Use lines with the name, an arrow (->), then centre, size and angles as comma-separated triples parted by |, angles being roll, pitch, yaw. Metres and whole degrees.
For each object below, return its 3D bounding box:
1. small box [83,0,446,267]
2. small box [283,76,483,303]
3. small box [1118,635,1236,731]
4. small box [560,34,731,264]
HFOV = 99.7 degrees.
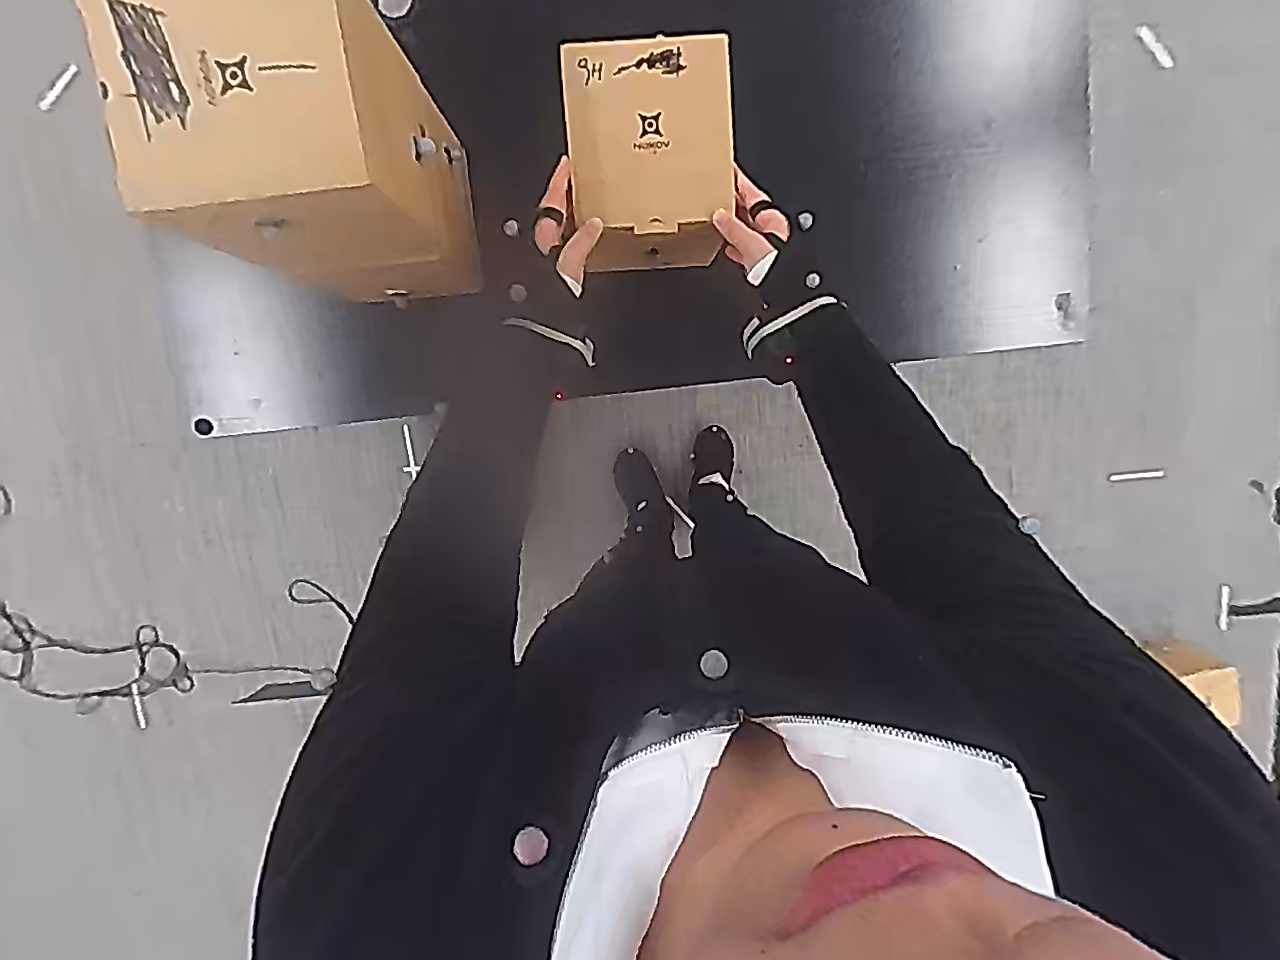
small box -> -0.286, -0.289, 0.451 | 0.179, 0.176, 0.168 | -7, 98, 0
small box -> -0.290, -0.312, 0.614 | 0.168, 0.176, 0.179 | -6, 98, 0
small box -> 1.487, 0.560, 1.507 | 0.168, 0.176, 0.179 | -12, 98, 0
small box -> 0.007, -0.353, 0.614 | 0.168, 0.176, 0.179 | -4, 98, -1
